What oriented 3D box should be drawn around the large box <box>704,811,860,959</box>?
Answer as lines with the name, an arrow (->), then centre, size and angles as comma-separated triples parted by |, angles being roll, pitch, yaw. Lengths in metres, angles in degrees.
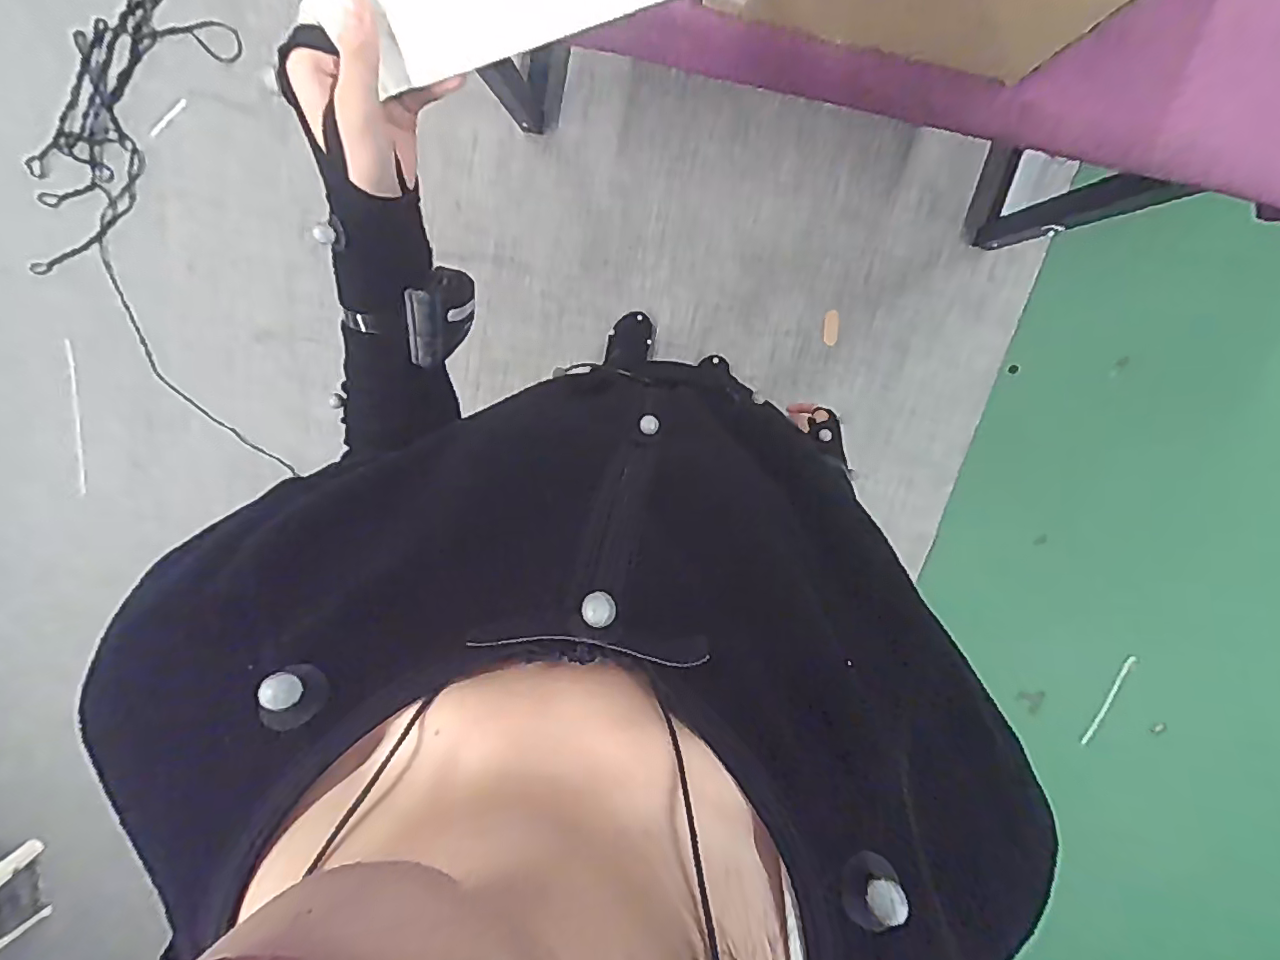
large box -> 0.409, 1.262, 1.651 | 0.408, 0.320, 0.320 | -1, 105, 3

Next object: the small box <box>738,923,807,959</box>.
small box -> 0.349, 1.308, 1.415 | 0.168, 0.176, 0.179 | 0, 104, 5
